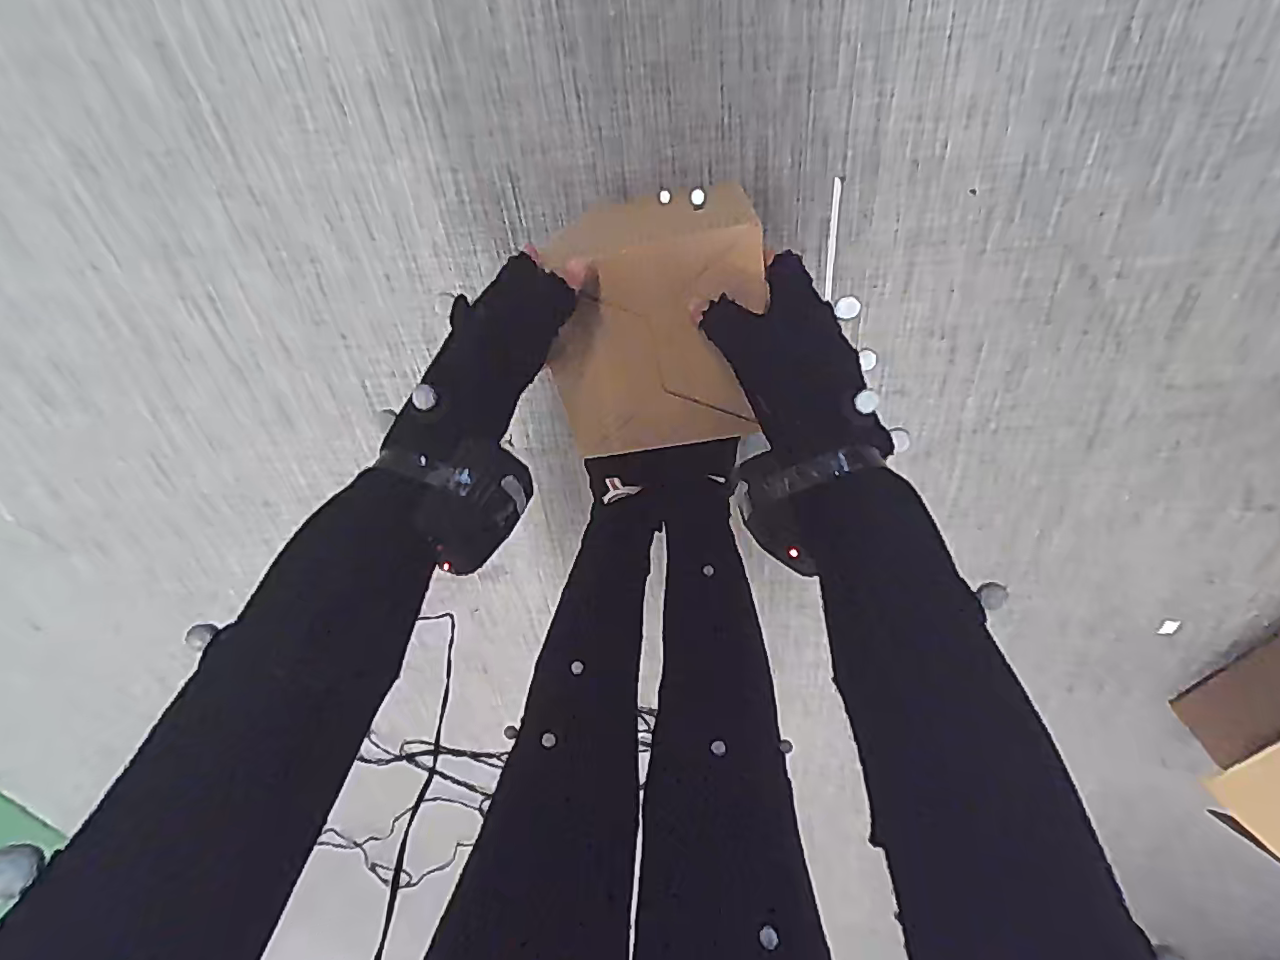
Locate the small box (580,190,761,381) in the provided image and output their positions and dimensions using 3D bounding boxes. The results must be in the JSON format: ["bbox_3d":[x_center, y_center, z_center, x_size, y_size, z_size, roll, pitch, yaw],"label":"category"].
[{"bbox_3d":[0.042,-0.231,0.634,0.179,0.176,0.168,-5,122,10],"label":"small box"}]
